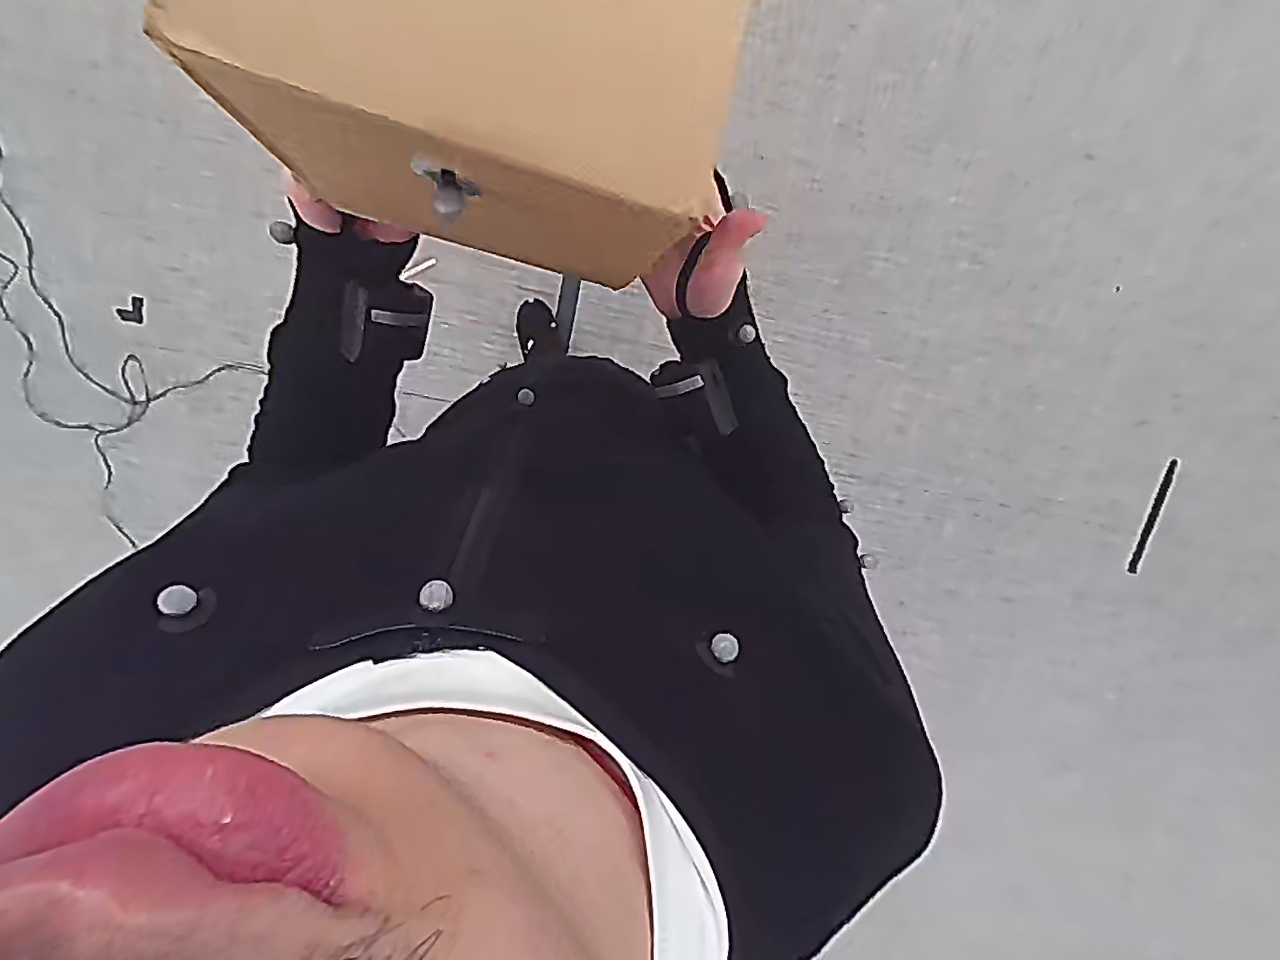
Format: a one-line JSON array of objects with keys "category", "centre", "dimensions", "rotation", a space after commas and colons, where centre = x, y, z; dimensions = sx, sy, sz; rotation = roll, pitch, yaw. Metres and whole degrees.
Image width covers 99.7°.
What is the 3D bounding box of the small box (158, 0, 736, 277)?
[{"category": "small box", "centre": [-0.062, -0.209, 0.252], "dimensions": [0.179, 0.176, 0.168], "rotation": [12, 98, -14]}]
